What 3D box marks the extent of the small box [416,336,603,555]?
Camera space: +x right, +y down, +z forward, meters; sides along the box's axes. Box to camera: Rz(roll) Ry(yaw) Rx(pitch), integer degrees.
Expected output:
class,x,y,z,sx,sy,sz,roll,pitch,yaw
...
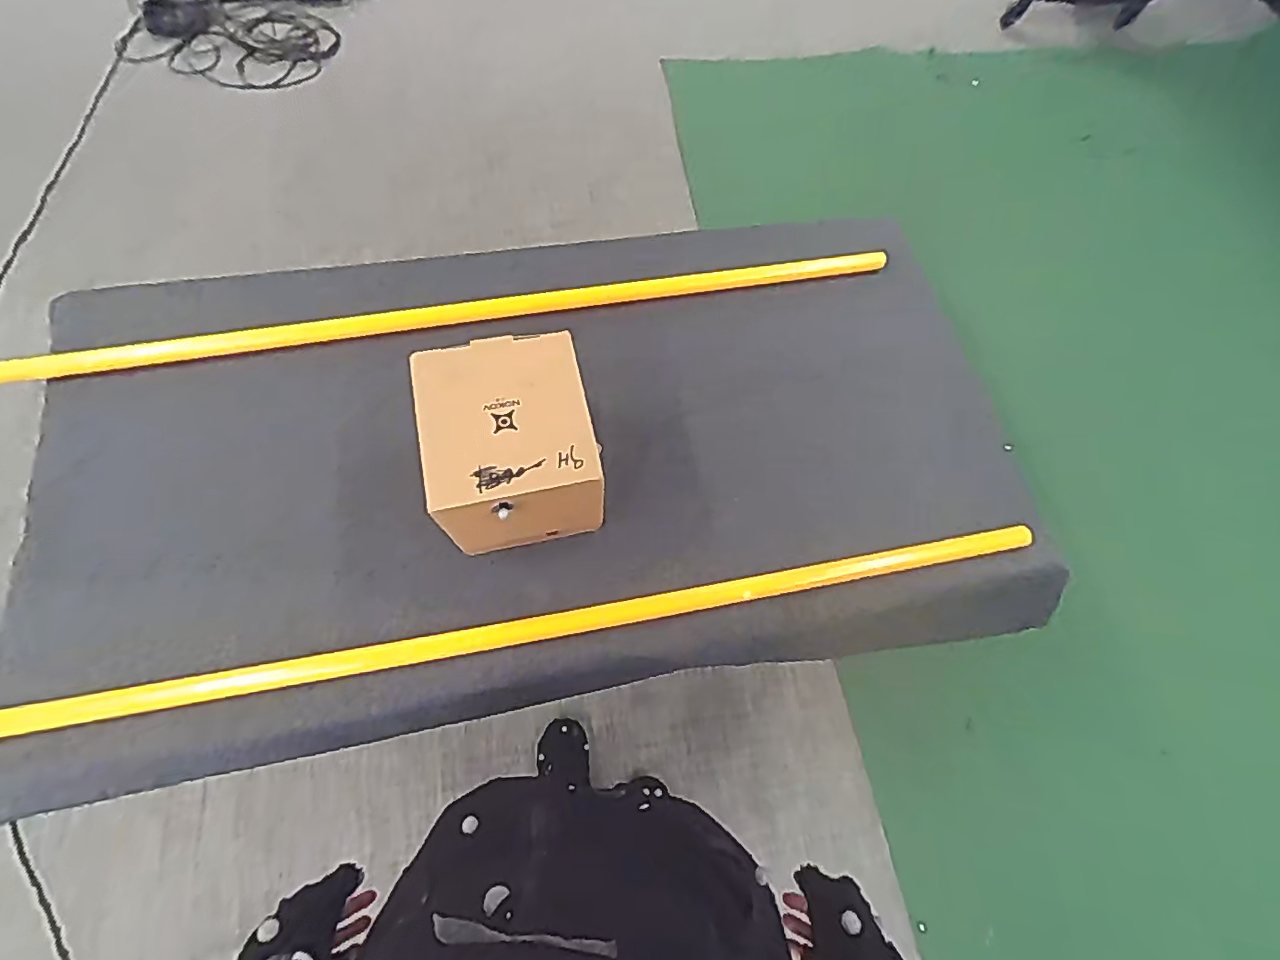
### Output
class,x,y,z,sx,sy,sz,roll,pitch,yaw
small box,-0.140,-0.032,0.612,0.168,0.176,0.179,-12,69,-9
